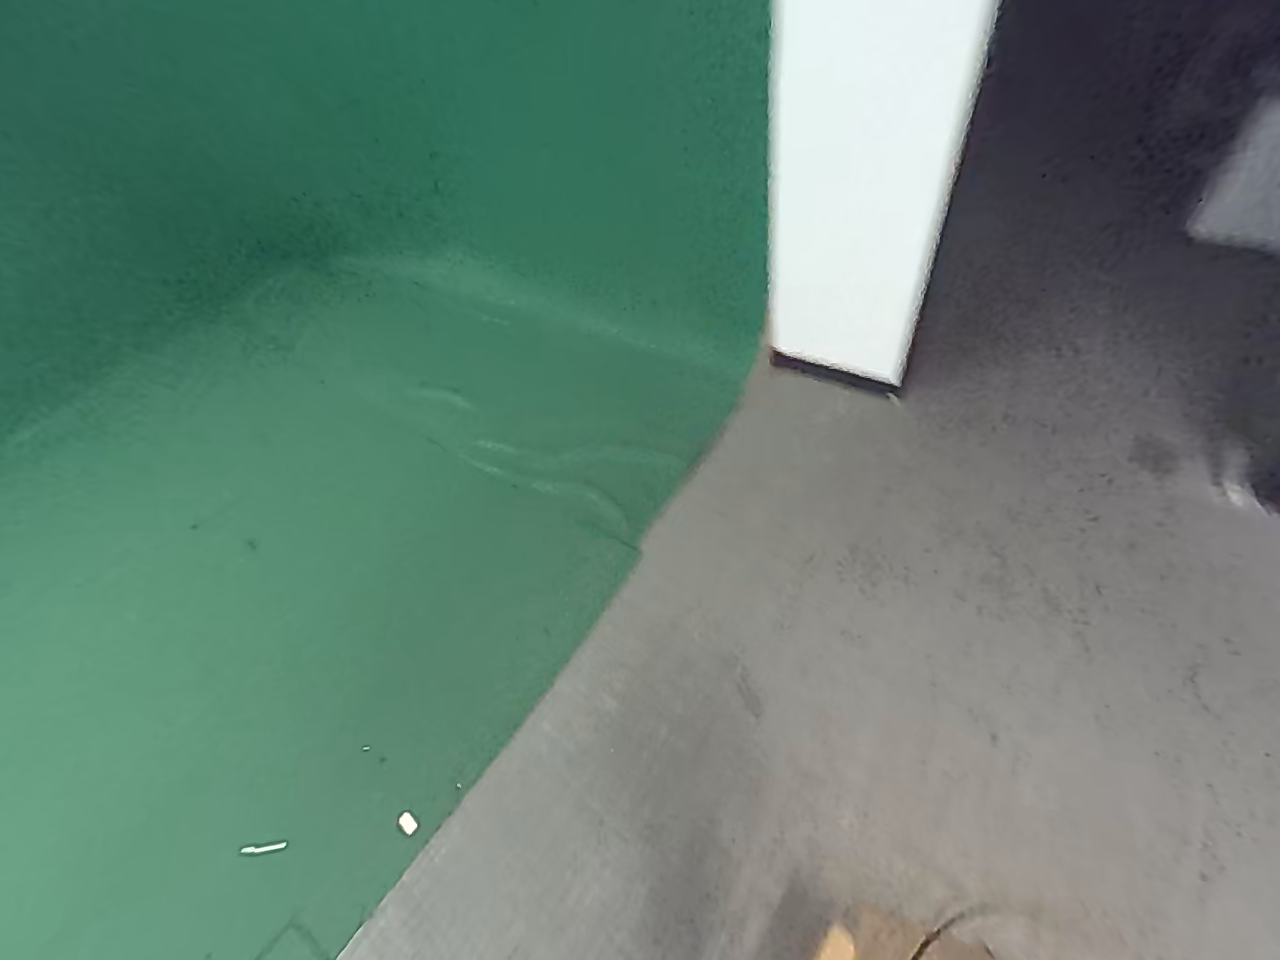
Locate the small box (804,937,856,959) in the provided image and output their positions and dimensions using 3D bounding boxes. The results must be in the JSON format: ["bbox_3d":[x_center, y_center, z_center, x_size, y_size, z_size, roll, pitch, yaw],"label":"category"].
[{"bbox_3d":[0.345,0.938,0.933,0.168,0.176,0.179,32,64,31],"label":"small box"}]
